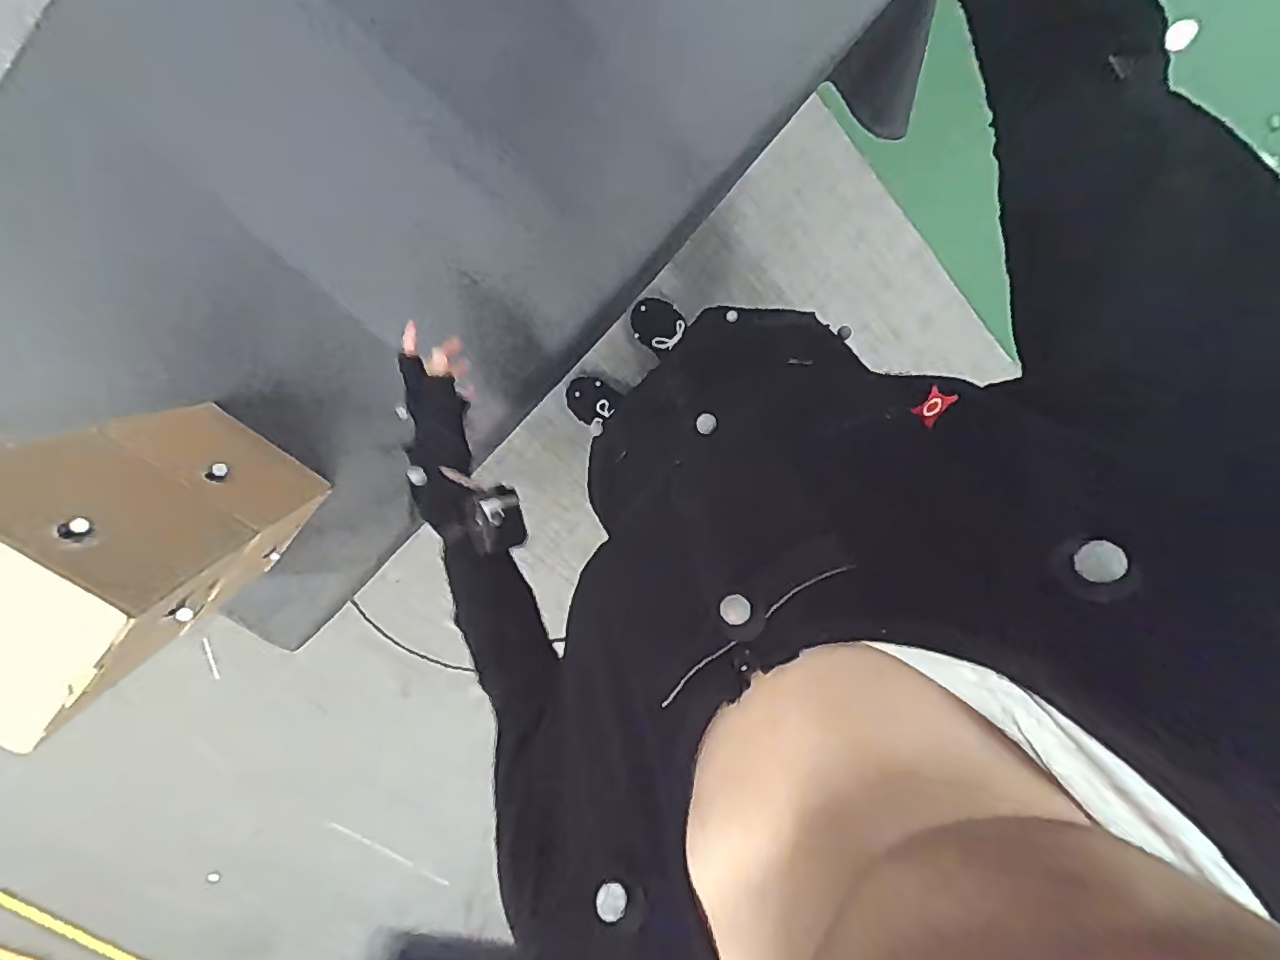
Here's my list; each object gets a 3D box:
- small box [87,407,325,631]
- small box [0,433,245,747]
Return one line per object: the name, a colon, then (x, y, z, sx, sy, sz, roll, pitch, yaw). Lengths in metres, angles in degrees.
small box: (-0.520, 0.031, 0.629, 0.179, 0.176, 0.168, 40, 100, -15)
small box: (-0.507, 0.080, 0.474, 0.179, 0.176, 0.168, 42, 99, -15)
